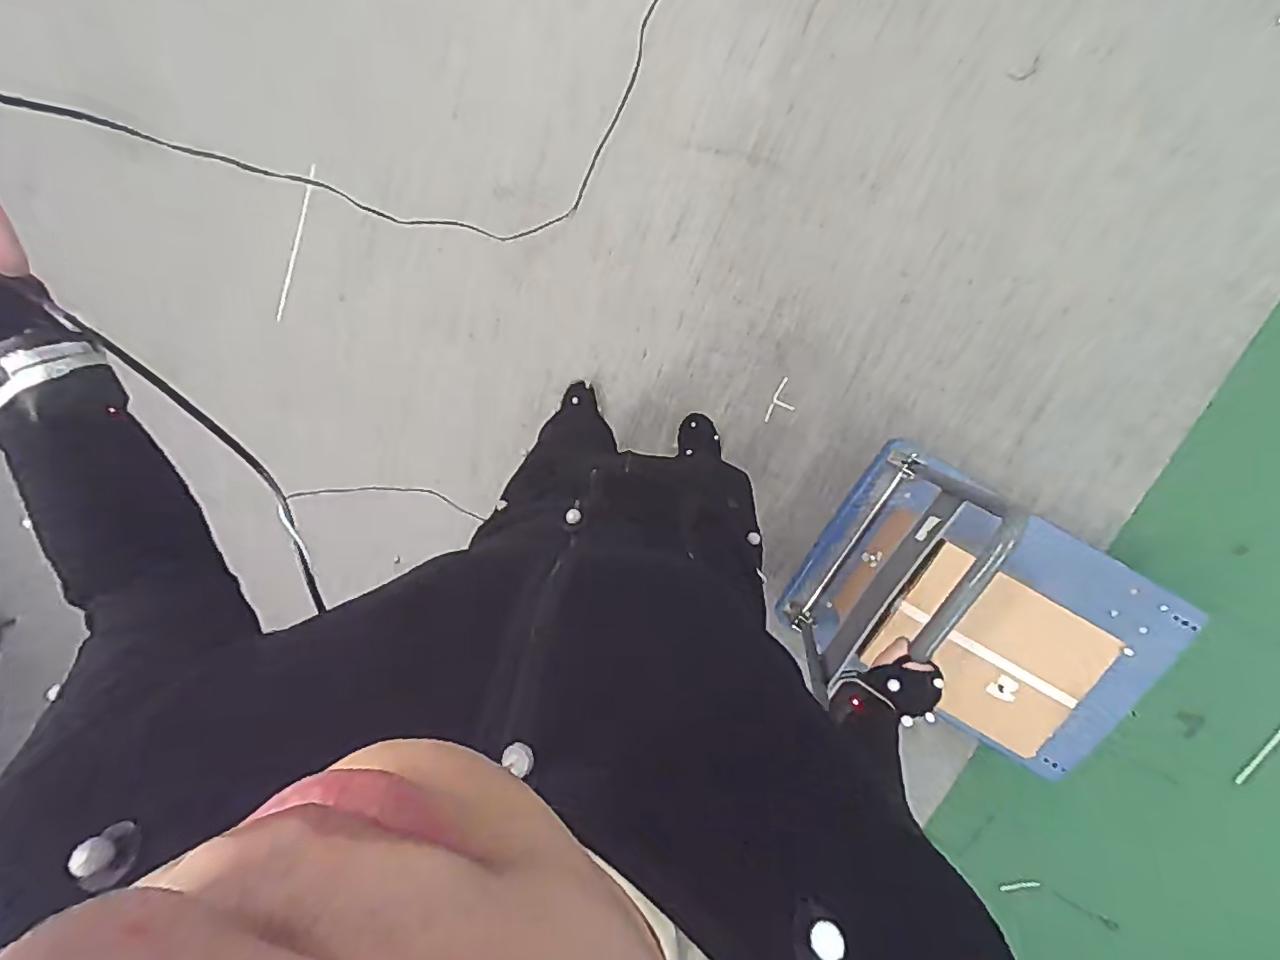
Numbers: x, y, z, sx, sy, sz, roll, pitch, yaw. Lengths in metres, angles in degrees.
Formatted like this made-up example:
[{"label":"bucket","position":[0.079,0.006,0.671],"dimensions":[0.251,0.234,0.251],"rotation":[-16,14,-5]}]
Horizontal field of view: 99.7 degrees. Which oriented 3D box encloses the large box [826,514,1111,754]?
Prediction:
[{"label":"large box","position":[0.713,0.328,1.255],"dimensions":[0.408,0.320,0.320],"rotation":[30,103,2]}]
